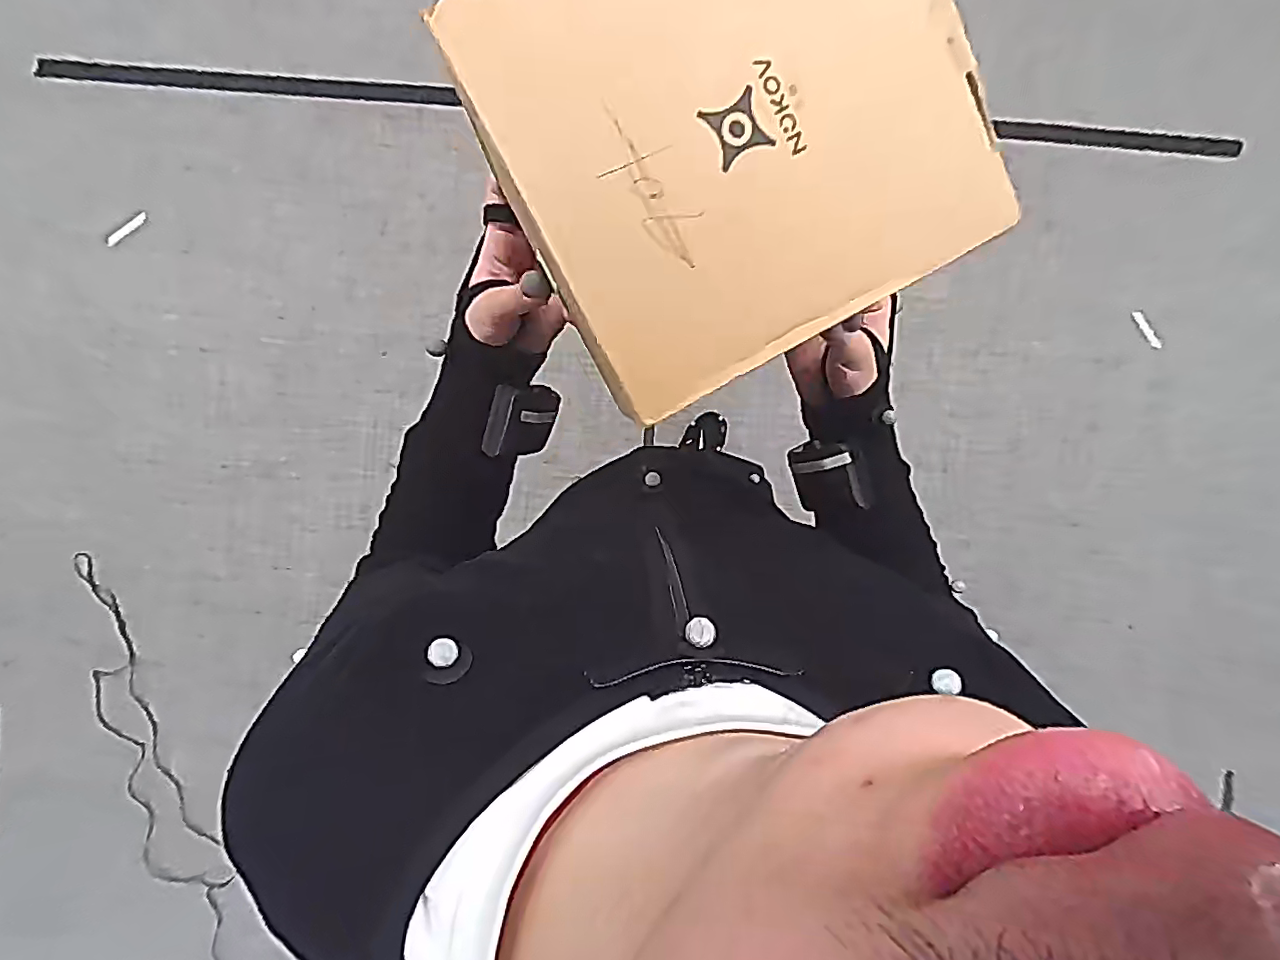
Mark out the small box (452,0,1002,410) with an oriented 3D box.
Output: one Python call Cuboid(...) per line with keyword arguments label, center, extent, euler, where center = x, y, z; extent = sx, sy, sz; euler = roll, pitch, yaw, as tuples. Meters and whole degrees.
Cuboid(label="small box", center=(0.034, -0.152, 0.292), extent=(0.179, 0.176, 0.168), euler=(-30, 99, 0))
